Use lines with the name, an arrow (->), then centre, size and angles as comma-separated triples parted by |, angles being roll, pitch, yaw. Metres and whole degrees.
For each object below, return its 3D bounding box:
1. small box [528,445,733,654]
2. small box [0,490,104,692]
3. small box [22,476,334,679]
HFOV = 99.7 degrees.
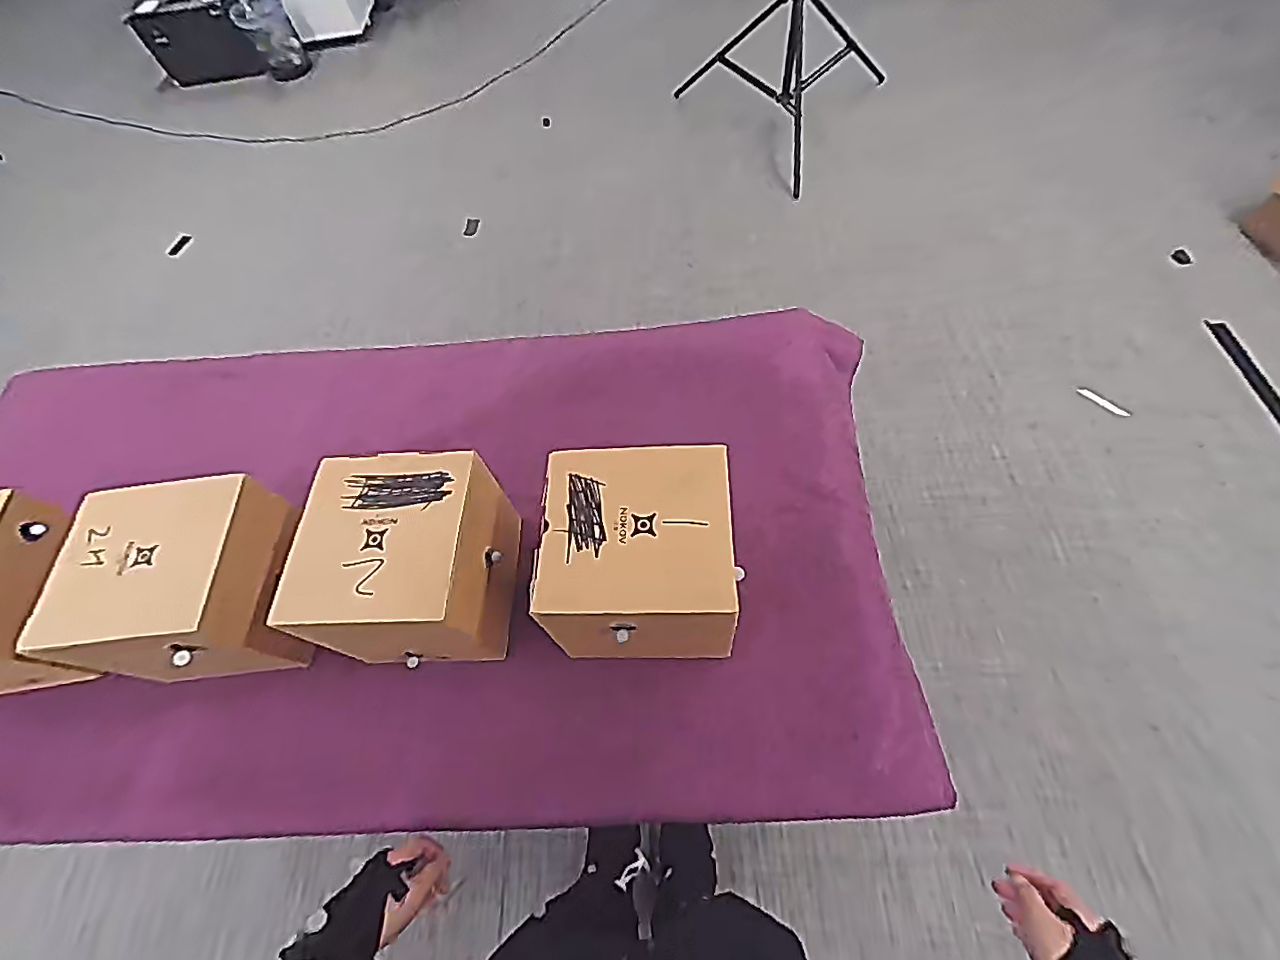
small box -> 0.001, 0.078, 0.558 | 0.179, 0.176, 0.168 | -1, 60, 5
small box -> -0.731, 0.137, 0.614 | 0.168, 0.176, 0.179 | -10, 60, 1
small box -> -0.475, 0.114, 0.595 | 0.179, 0.176, 0.168 | -7, 60, 2
